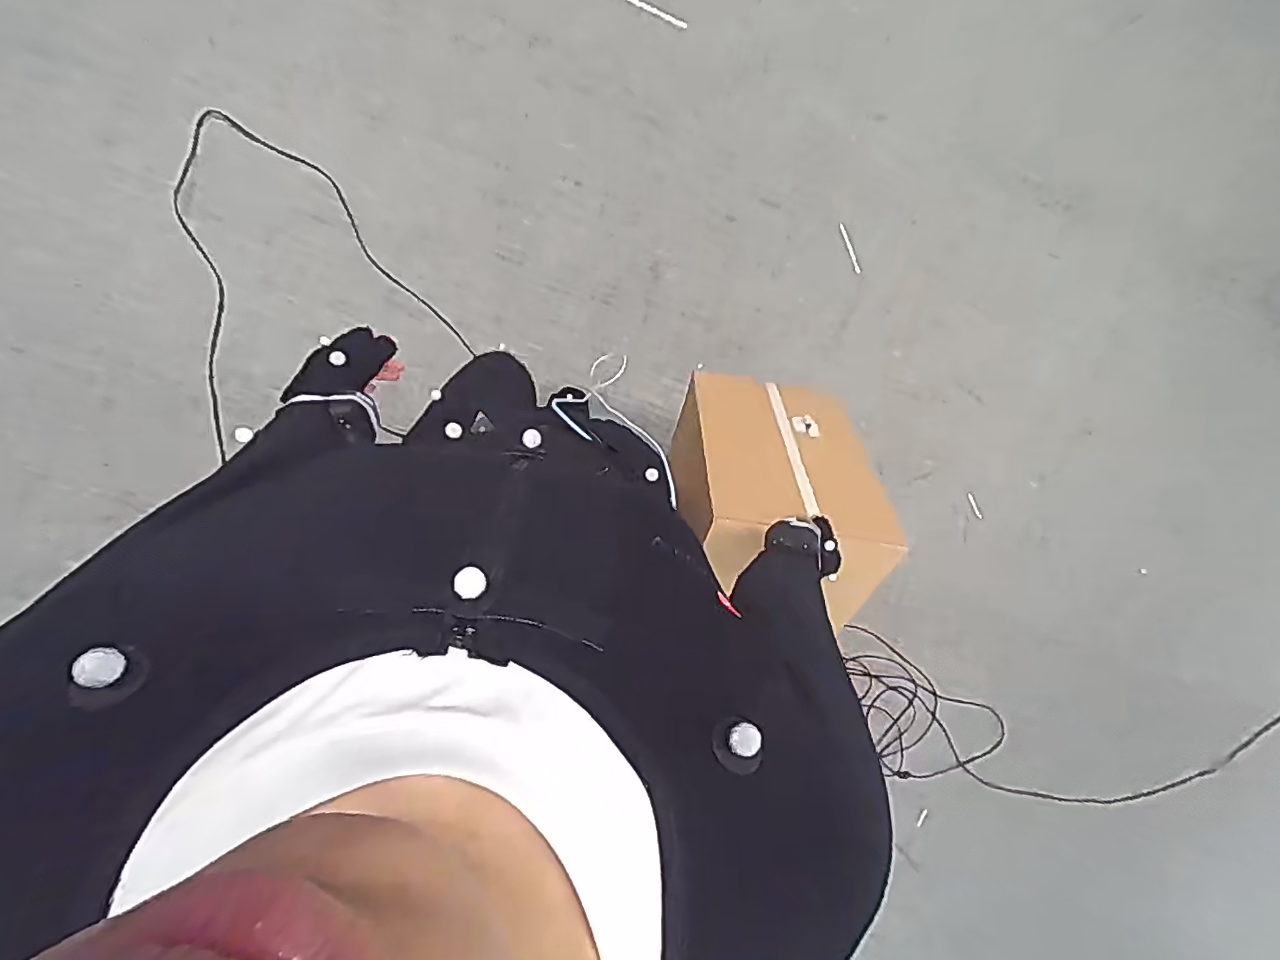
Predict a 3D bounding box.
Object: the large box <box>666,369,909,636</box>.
[{"bbox_3d":[0.236,0.042,1.047,0.320,0.408,0.320,9,132,-8],"label":"large box"}]
